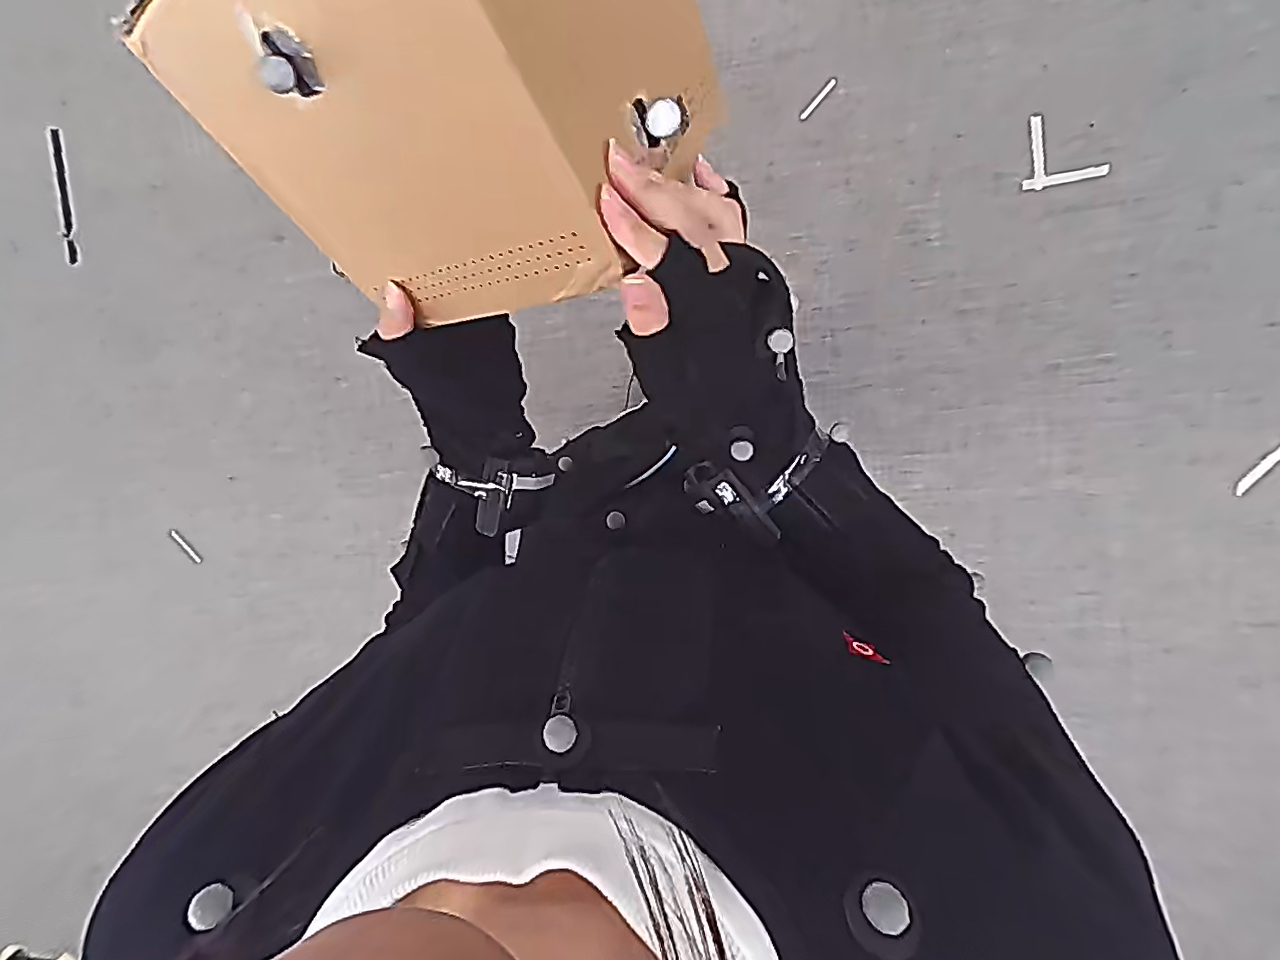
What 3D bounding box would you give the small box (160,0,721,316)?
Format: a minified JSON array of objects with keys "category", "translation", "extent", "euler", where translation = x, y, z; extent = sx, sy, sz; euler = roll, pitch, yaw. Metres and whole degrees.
[{"category":"small box","translation":[-0.082,-0.207,0.286],"extent":[0.179,0.176,0.168],"euler":[3,58,34]}]
